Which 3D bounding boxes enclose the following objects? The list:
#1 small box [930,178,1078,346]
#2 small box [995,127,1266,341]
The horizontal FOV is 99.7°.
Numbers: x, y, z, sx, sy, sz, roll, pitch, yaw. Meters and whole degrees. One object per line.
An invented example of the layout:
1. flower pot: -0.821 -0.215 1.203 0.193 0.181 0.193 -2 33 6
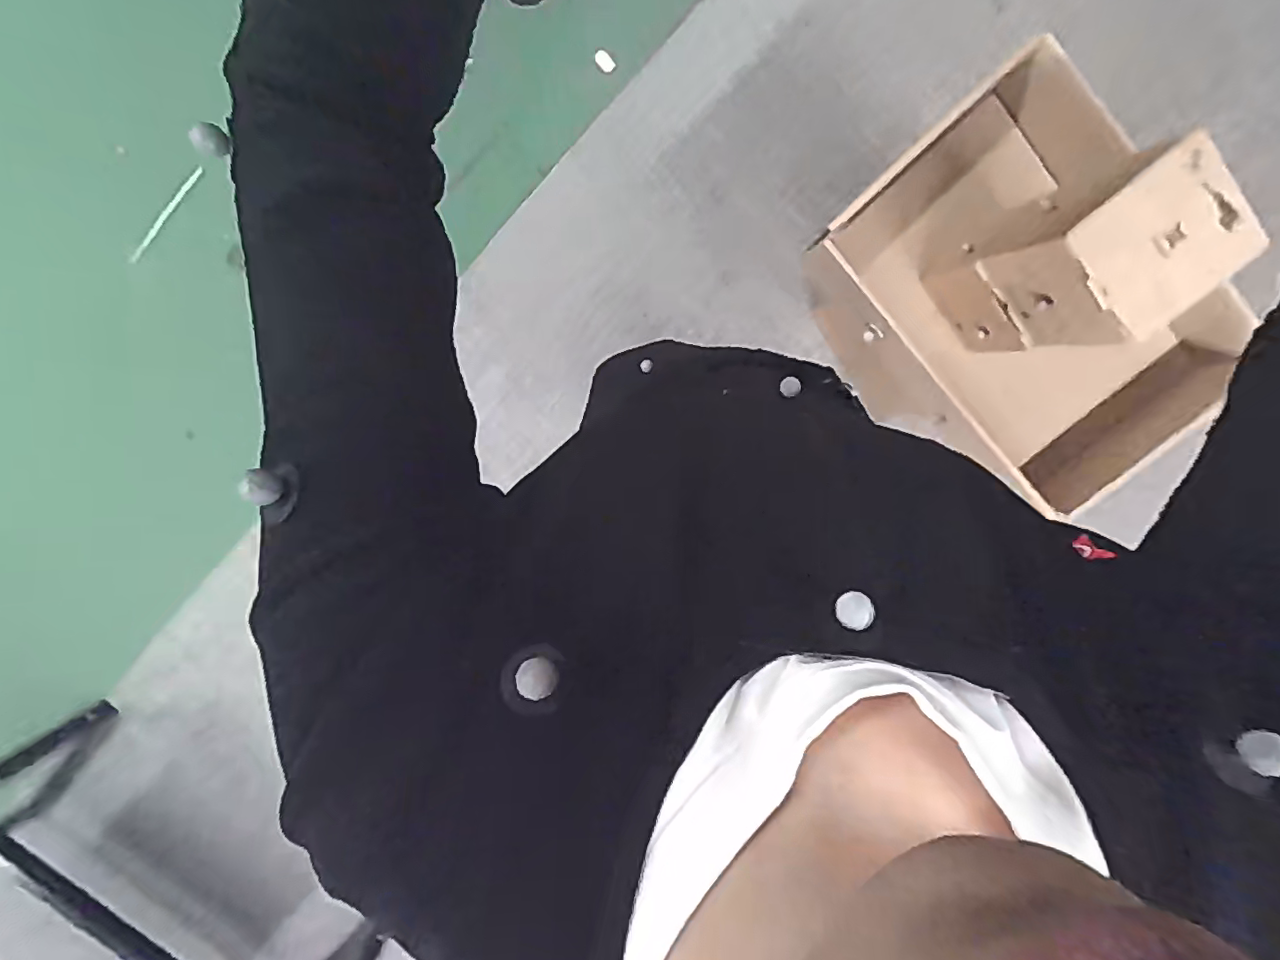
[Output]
1. small box: 0.602 -0.330 0.863 0.179 0.176 0.168 -40 100 8
2. small box: 0.607 -0.298 0.702 0.179 0.176 0.168 -40 100 10
